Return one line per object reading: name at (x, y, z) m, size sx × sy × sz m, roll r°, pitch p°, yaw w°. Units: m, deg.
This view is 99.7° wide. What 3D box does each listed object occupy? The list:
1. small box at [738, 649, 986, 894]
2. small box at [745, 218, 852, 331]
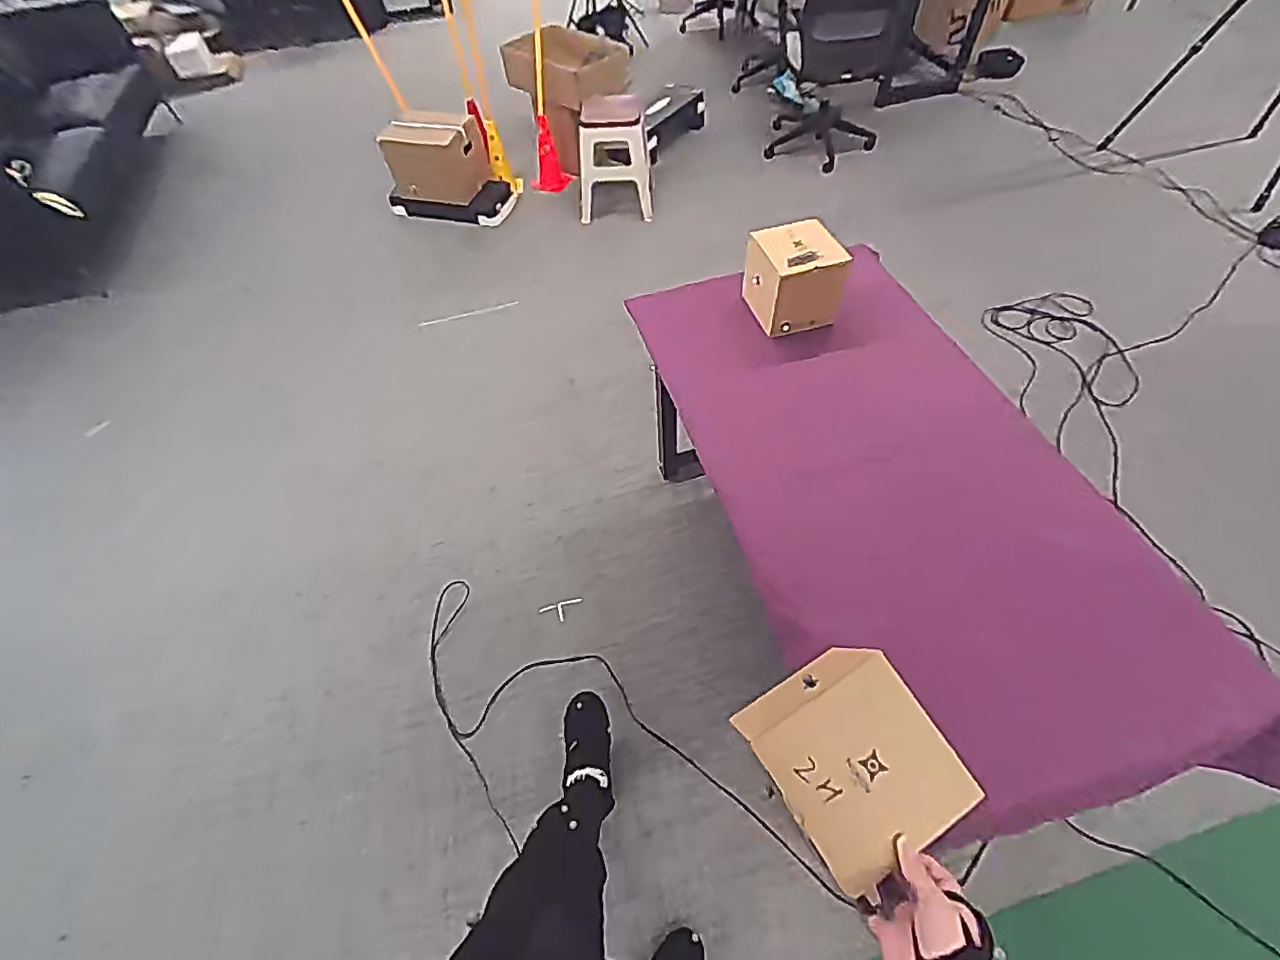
small box at (0.233, 0.309, 0.621) m, size 0.179 × 0.176 × 0.168 m, roll -31°, pitch 74°, yaw -6°
small box at (0.350, -0.458, 1.231) m, size 0.168 × 0.176 × 0.179 m, roll -14°, pitch 54°, yaw -6°
